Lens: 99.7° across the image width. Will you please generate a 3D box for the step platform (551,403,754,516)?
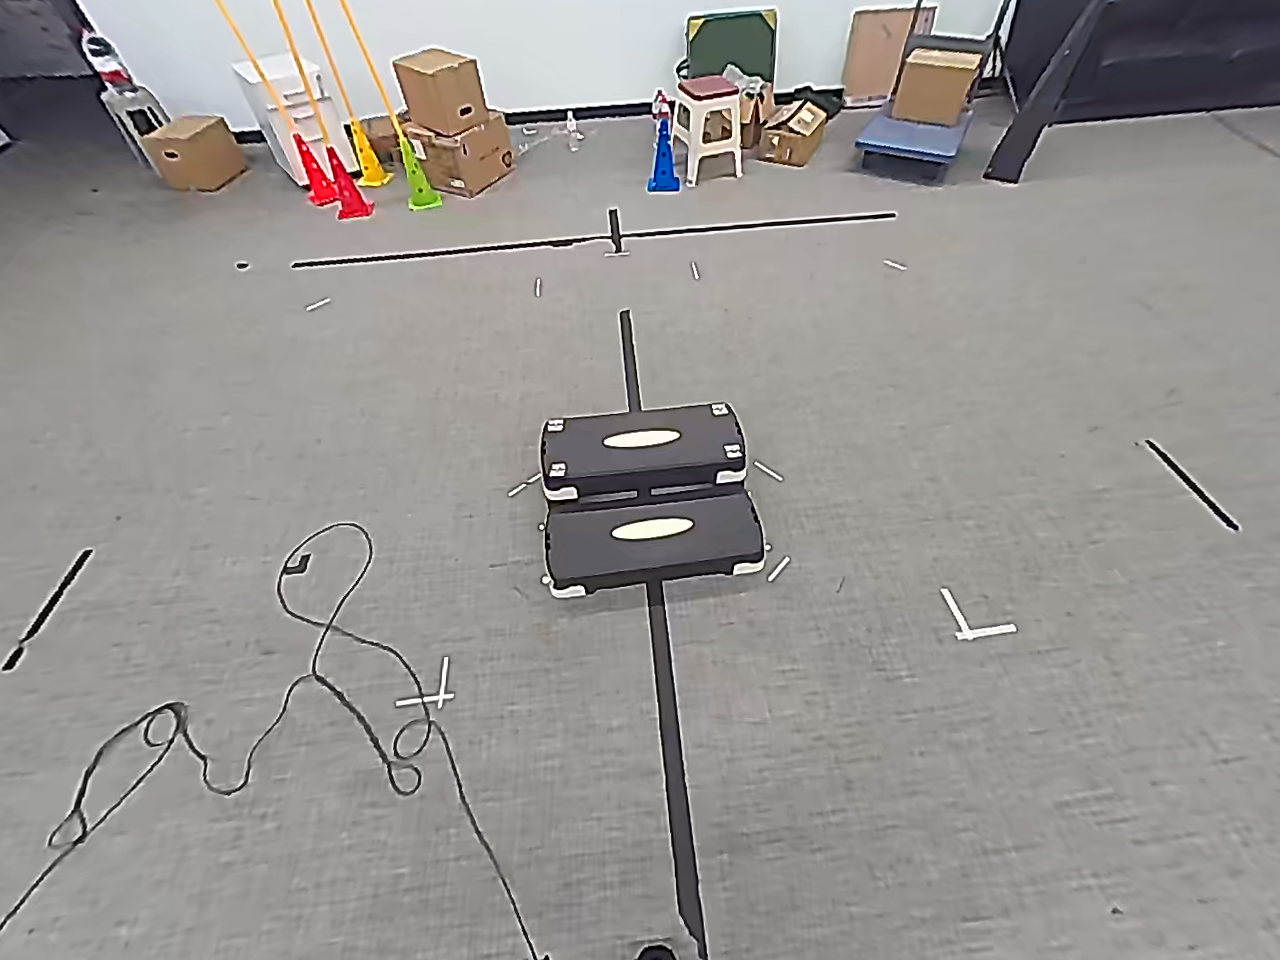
[{"bbox_3d":[0.040,-0.078,1.852,0.684,0.204,0.286,-6,51,-4],"label":"step platform"}]
